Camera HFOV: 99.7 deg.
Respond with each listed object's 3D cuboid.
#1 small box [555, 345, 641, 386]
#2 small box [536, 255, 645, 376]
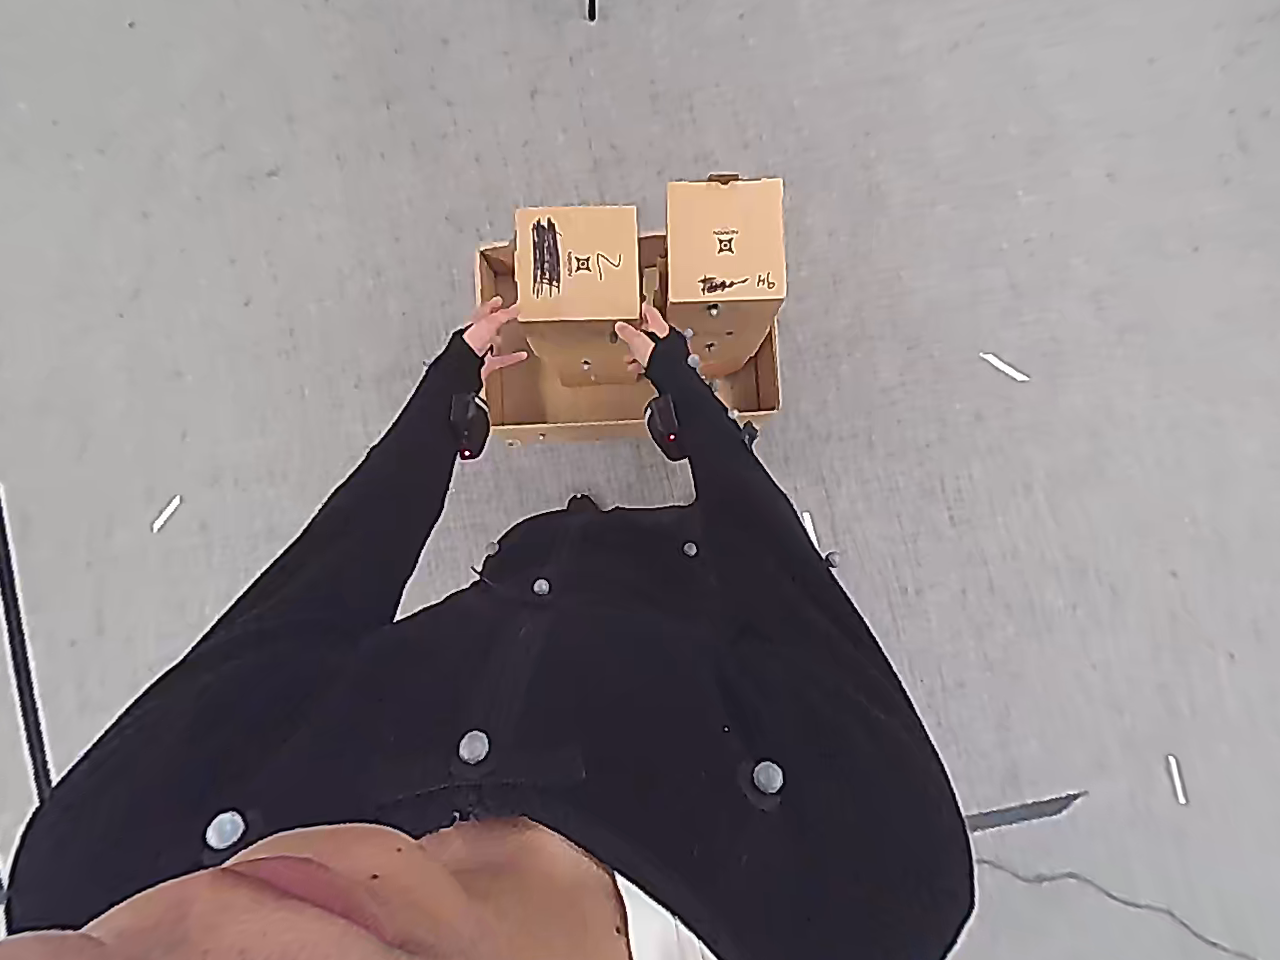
[{"bbox_3d":[-0.090,-0.301,1.158,0.179,0.176,0.168,-2,87,-1],"label":"small box"},{"bbox_3d":[-0.084,-0.293,0.994,0.179,0.176,0.168,3,87,0],"label":"small box"}]
